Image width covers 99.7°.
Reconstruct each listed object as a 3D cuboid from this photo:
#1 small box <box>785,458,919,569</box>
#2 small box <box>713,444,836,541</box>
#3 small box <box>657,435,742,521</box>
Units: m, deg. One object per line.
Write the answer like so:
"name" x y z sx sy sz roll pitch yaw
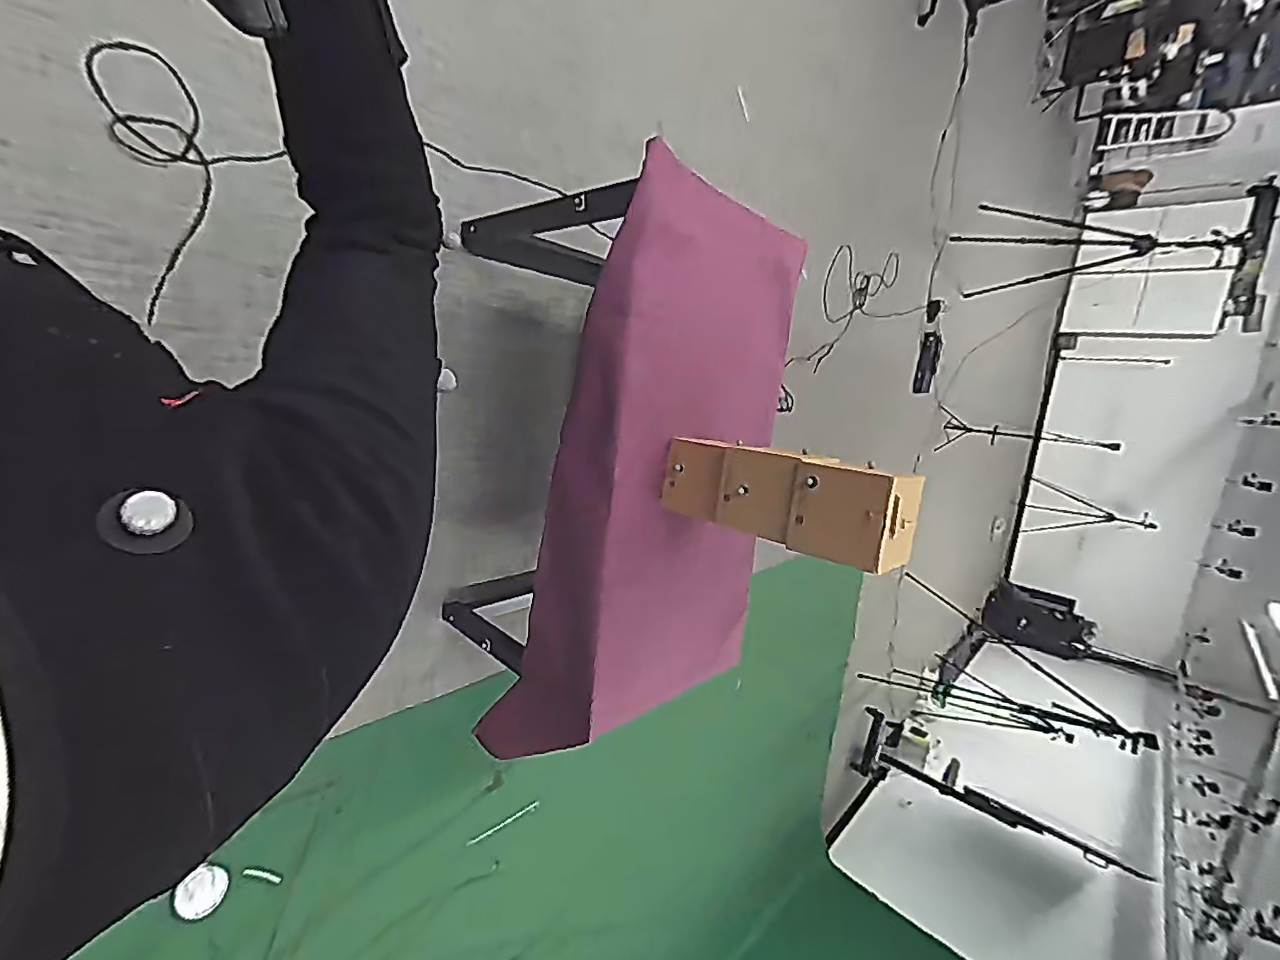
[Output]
"small box" 0.386 0.054 0.992 0.179 0.176 0.168 0 101 -48
"small box" 0.274 0.019 1.107 0.179 0.176 0.168 -1 101 -47
"small box" 0.166 -0.008 1.228 0.179 0.176 0.168 1 100 -47
